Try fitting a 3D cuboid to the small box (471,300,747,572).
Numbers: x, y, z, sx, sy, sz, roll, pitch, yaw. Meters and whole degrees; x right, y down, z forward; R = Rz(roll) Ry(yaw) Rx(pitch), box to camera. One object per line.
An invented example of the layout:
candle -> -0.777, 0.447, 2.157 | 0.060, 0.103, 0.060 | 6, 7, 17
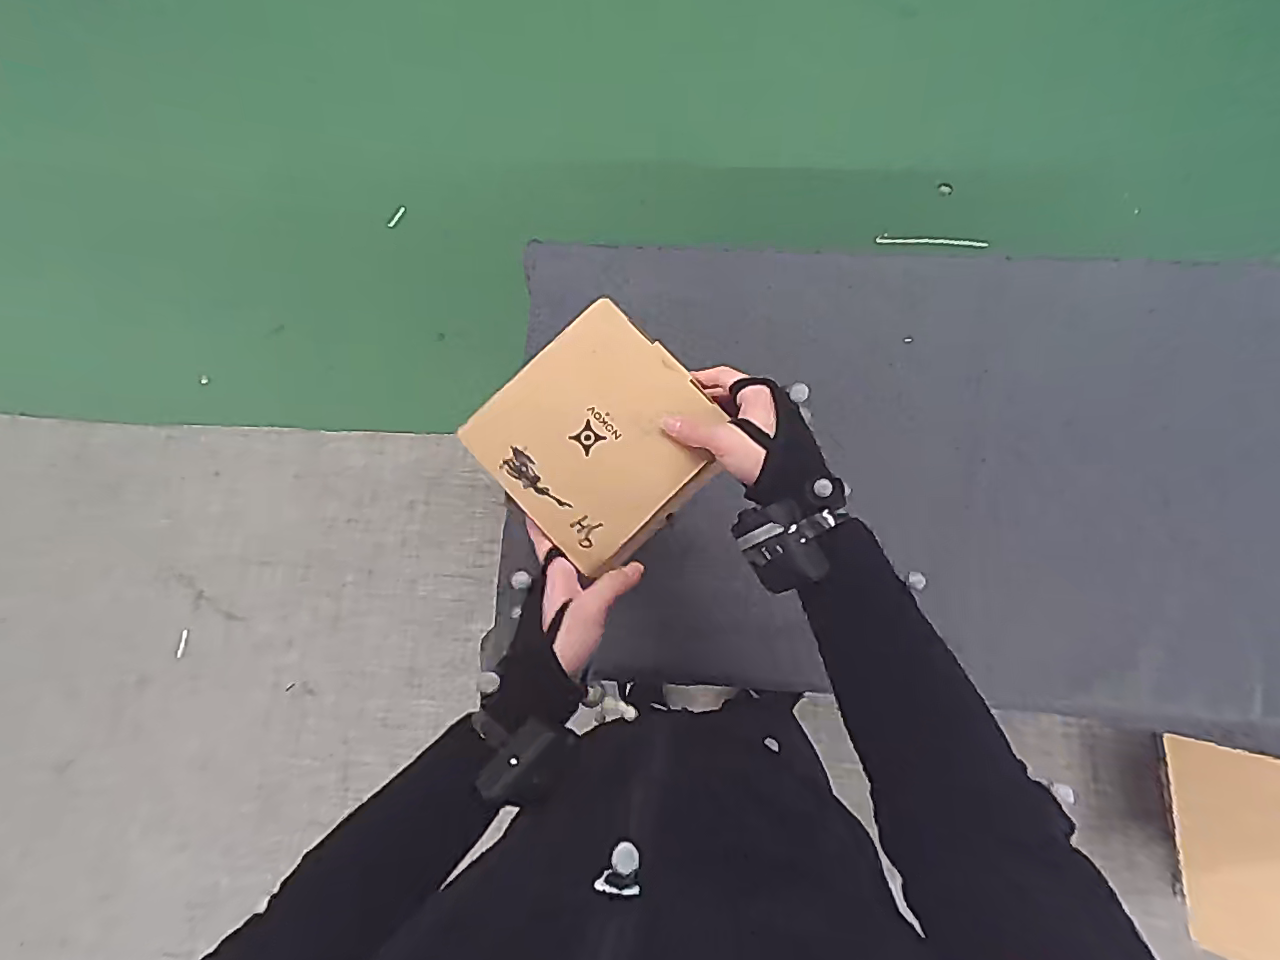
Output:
small box -> -0.023, -0.029, 0.527 | 0.168, 0.176, 0.179 | 44, 86, 10
